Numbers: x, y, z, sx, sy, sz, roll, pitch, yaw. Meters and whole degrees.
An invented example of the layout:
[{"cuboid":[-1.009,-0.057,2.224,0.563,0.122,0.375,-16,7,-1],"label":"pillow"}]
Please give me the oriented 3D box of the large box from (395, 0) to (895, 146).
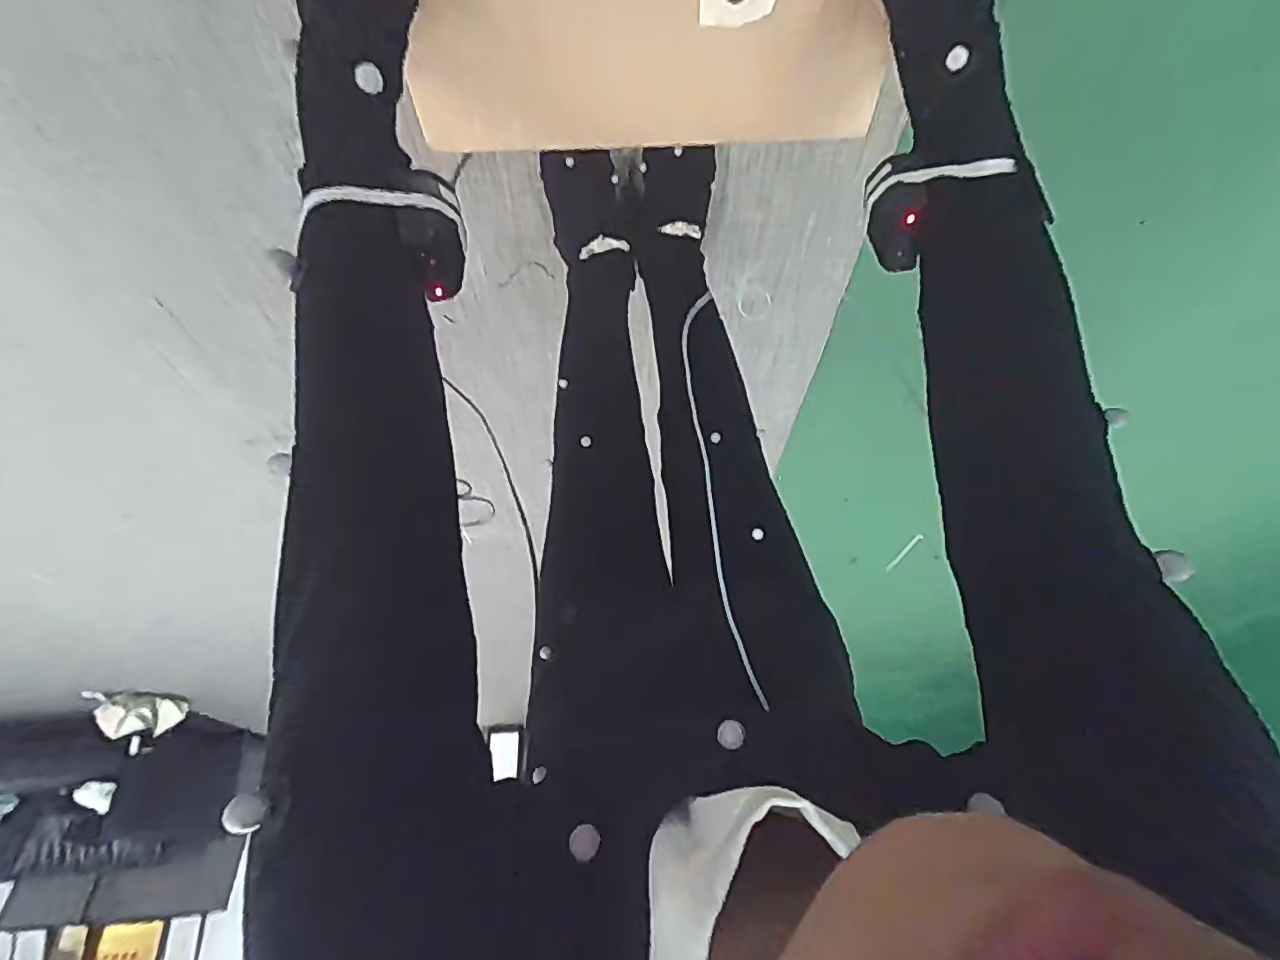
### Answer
[{"cuboid":[-0.004,-0.531,0.467,0.408,0.320,0.320,-4,145,-1],"label":"large box"}]
